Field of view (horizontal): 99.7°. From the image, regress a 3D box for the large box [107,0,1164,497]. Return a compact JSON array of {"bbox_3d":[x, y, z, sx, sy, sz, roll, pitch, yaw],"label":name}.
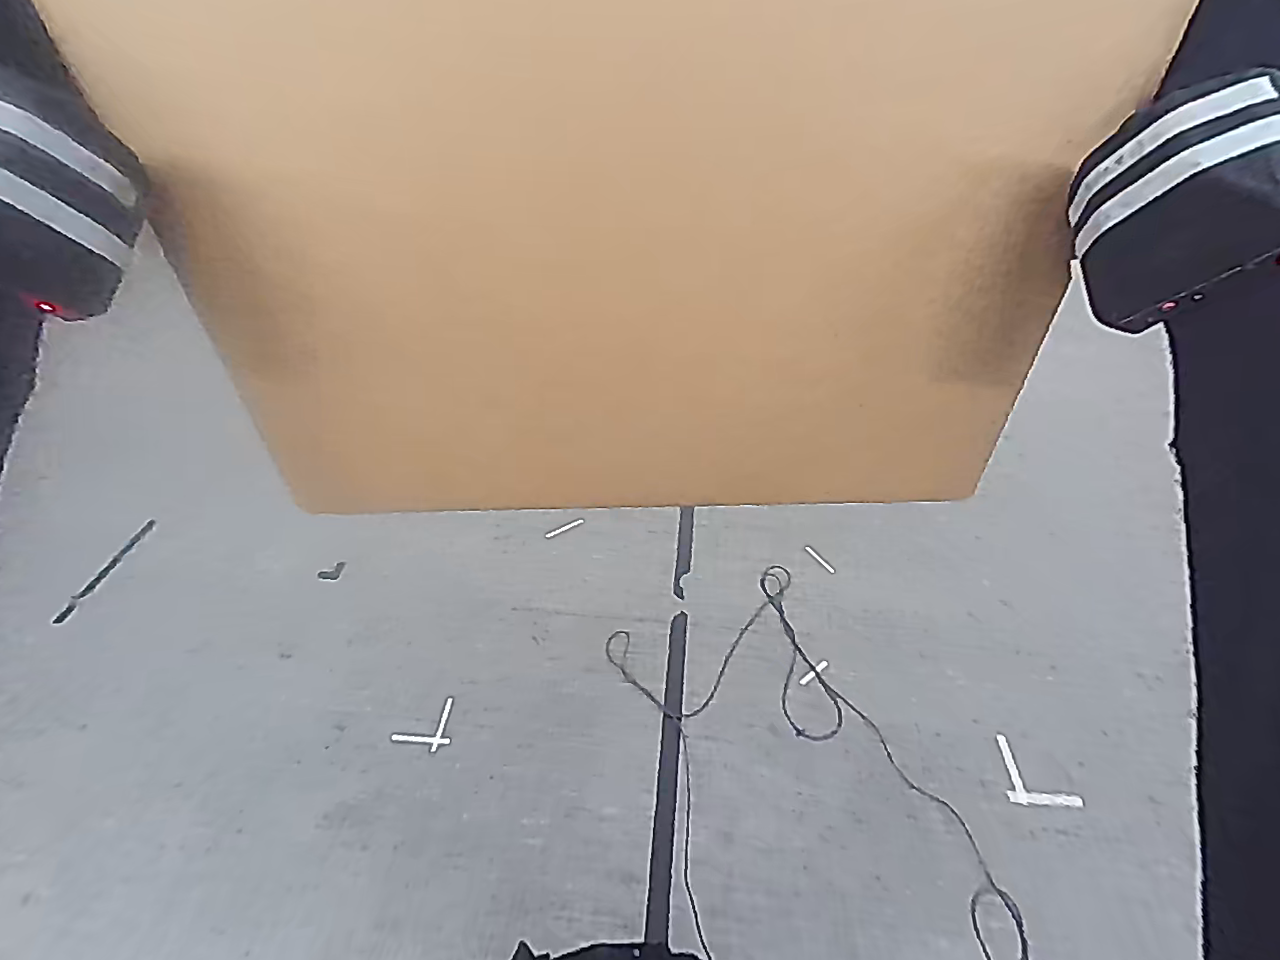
[{"bbox_3d":[-0.003,-0.200,0.365,0.408,0.320,0.320,0,37,-1],"label":"large box"}]
